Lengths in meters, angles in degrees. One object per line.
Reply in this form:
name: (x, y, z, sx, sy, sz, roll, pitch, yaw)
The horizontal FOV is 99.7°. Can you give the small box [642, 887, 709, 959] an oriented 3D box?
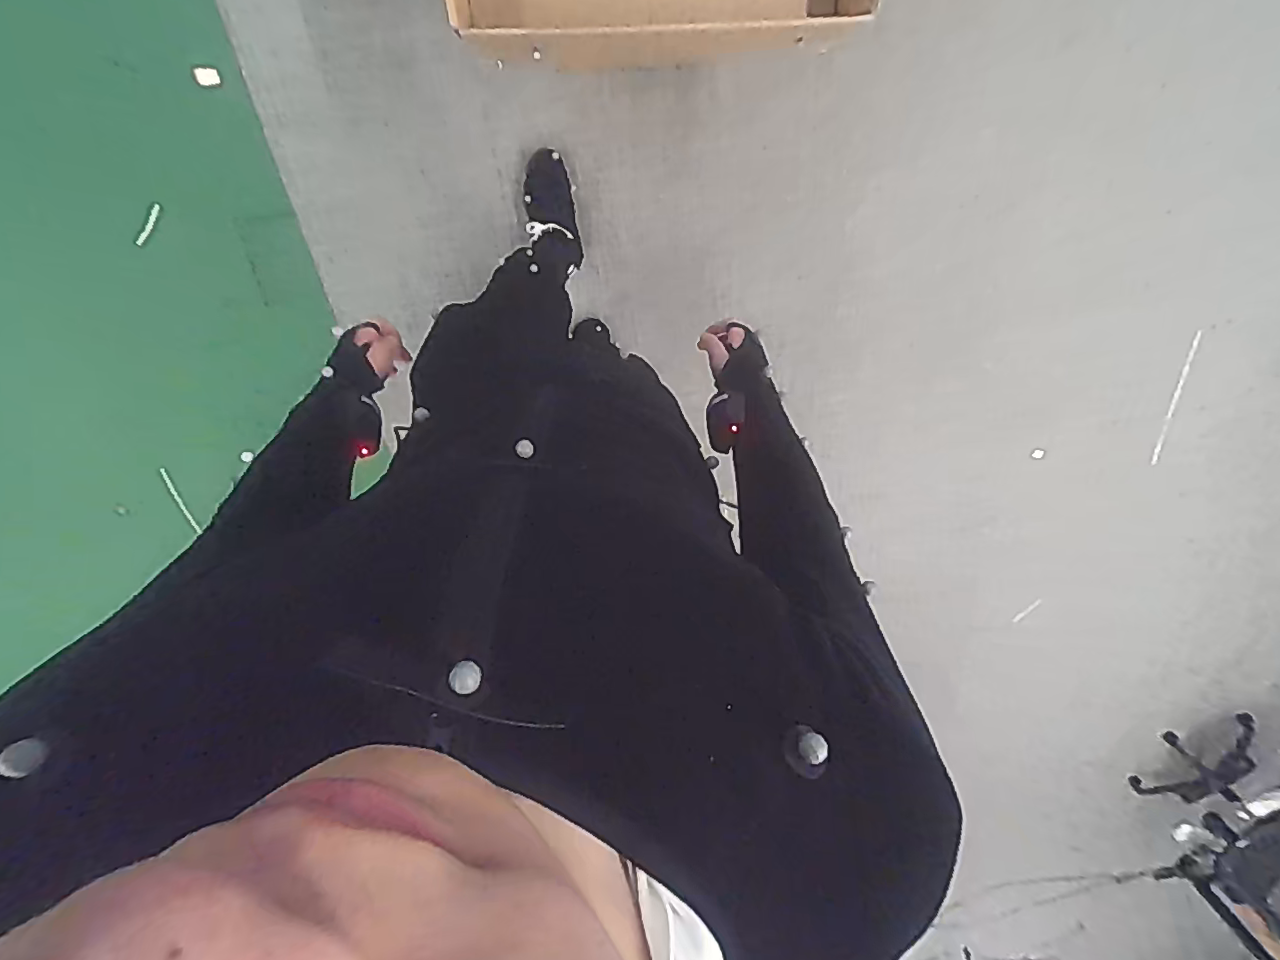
small box: (0.101, 1.288, 1.524, 0.168, 0.176, 0.179, -9, 120, -1)
